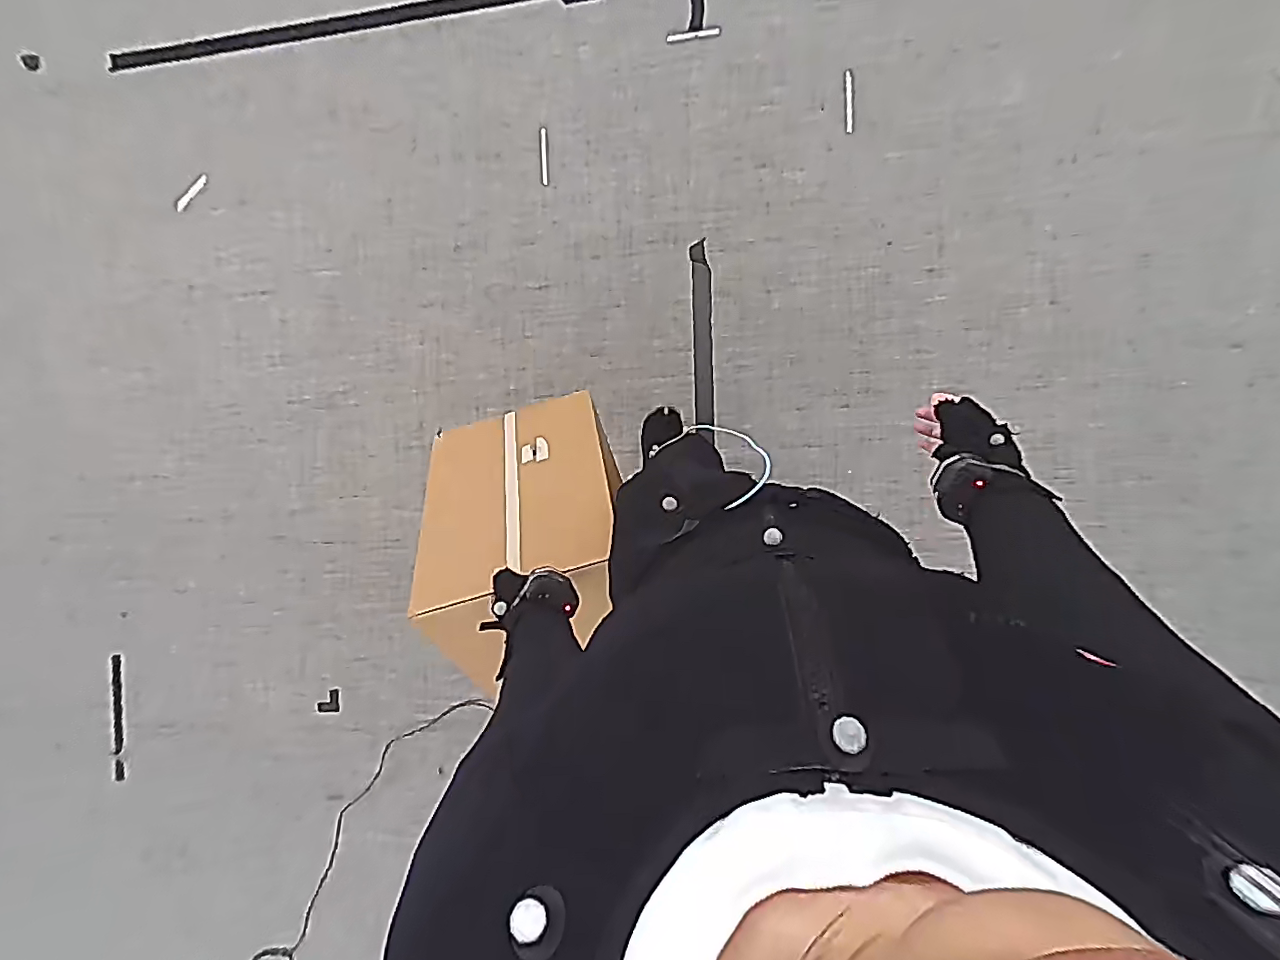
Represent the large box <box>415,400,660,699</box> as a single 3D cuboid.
[{"bbox_3d":[-0.177,0.122,1.008,0.320,0.408,0.320,-16,134,2],"label":"large box"}]
